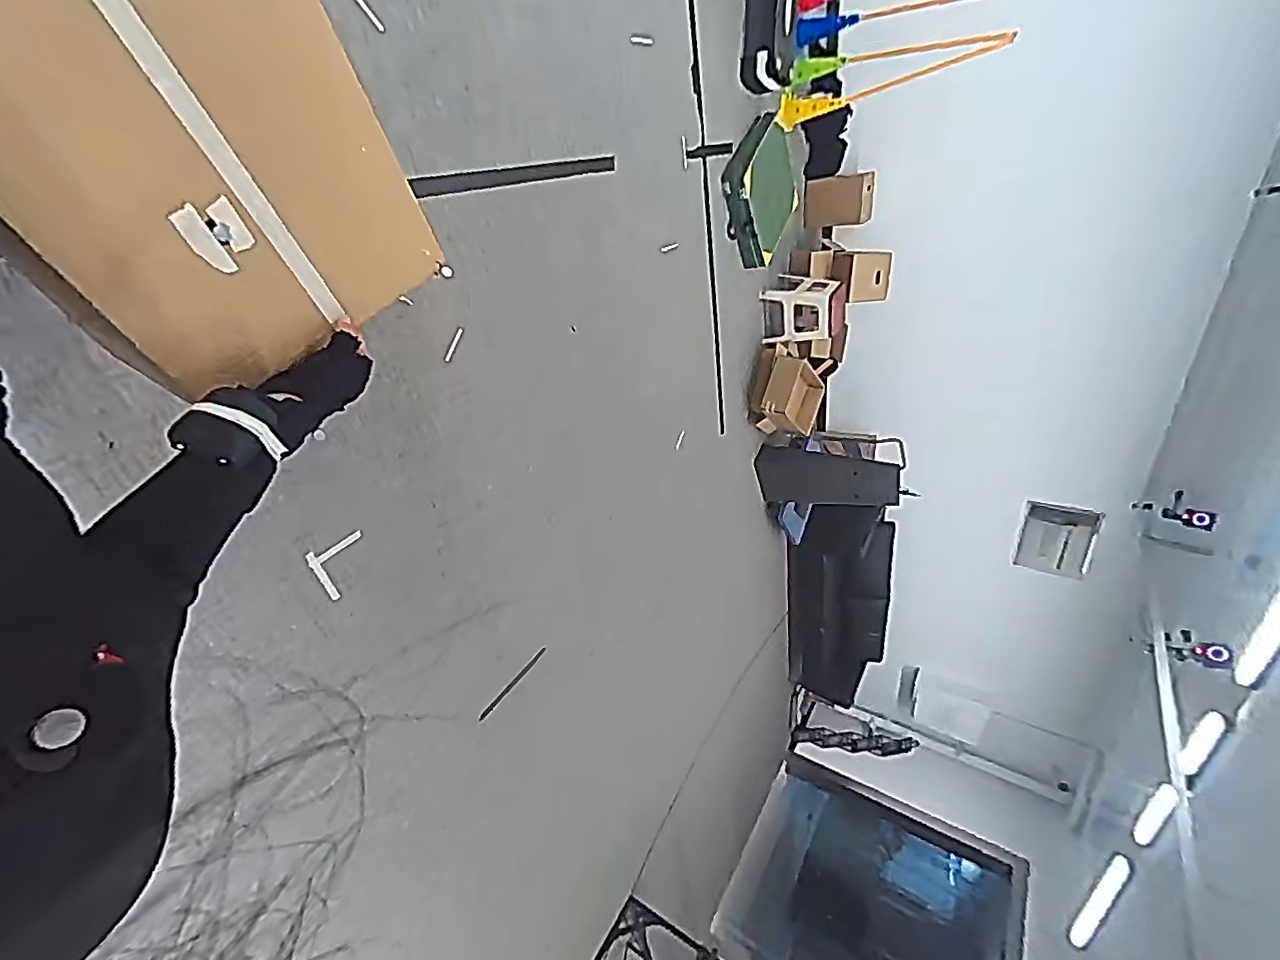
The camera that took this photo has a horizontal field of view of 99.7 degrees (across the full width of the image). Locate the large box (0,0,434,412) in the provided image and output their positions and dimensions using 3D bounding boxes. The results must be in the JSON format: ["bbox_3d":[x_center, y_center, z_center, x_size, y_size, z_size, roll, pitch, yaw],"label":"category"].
[{"bbox_3d":[-0.503,-0.344,0.539,0.320,0.320,0.408,-50,146,-27],"label":"large box"}]
